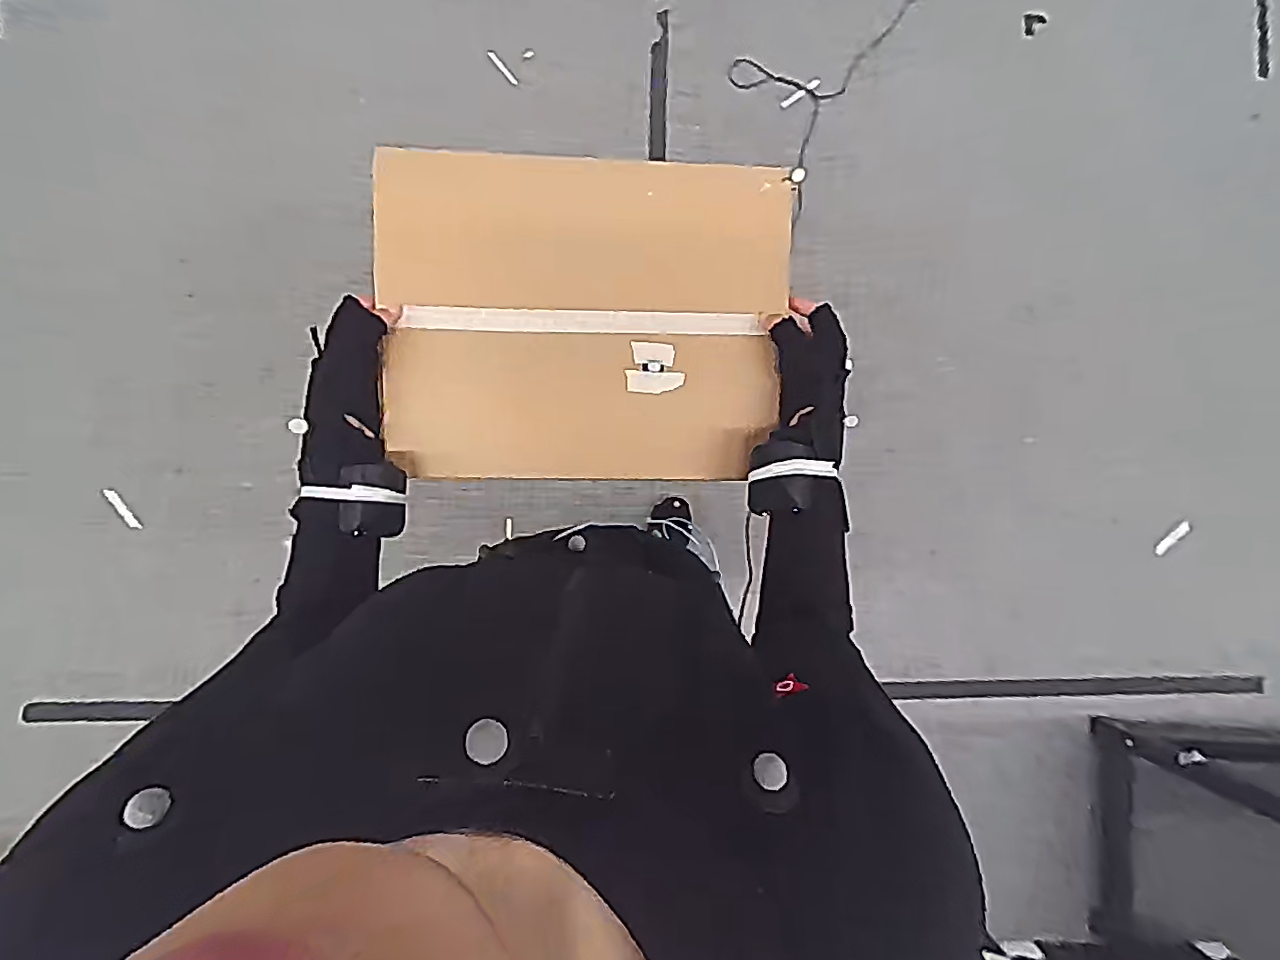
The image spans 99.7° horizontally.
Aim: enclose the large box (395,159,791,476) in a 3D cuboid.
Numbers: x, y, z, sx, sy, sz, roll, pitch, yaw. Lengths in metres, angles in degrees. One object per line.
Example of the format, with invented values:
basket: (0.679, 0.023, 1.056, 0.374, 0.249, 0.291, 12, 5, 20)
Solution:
large box: (-0.056, -0.171, 0.699, 0.408, 0.320, 0.320, 1, 95, -5)
